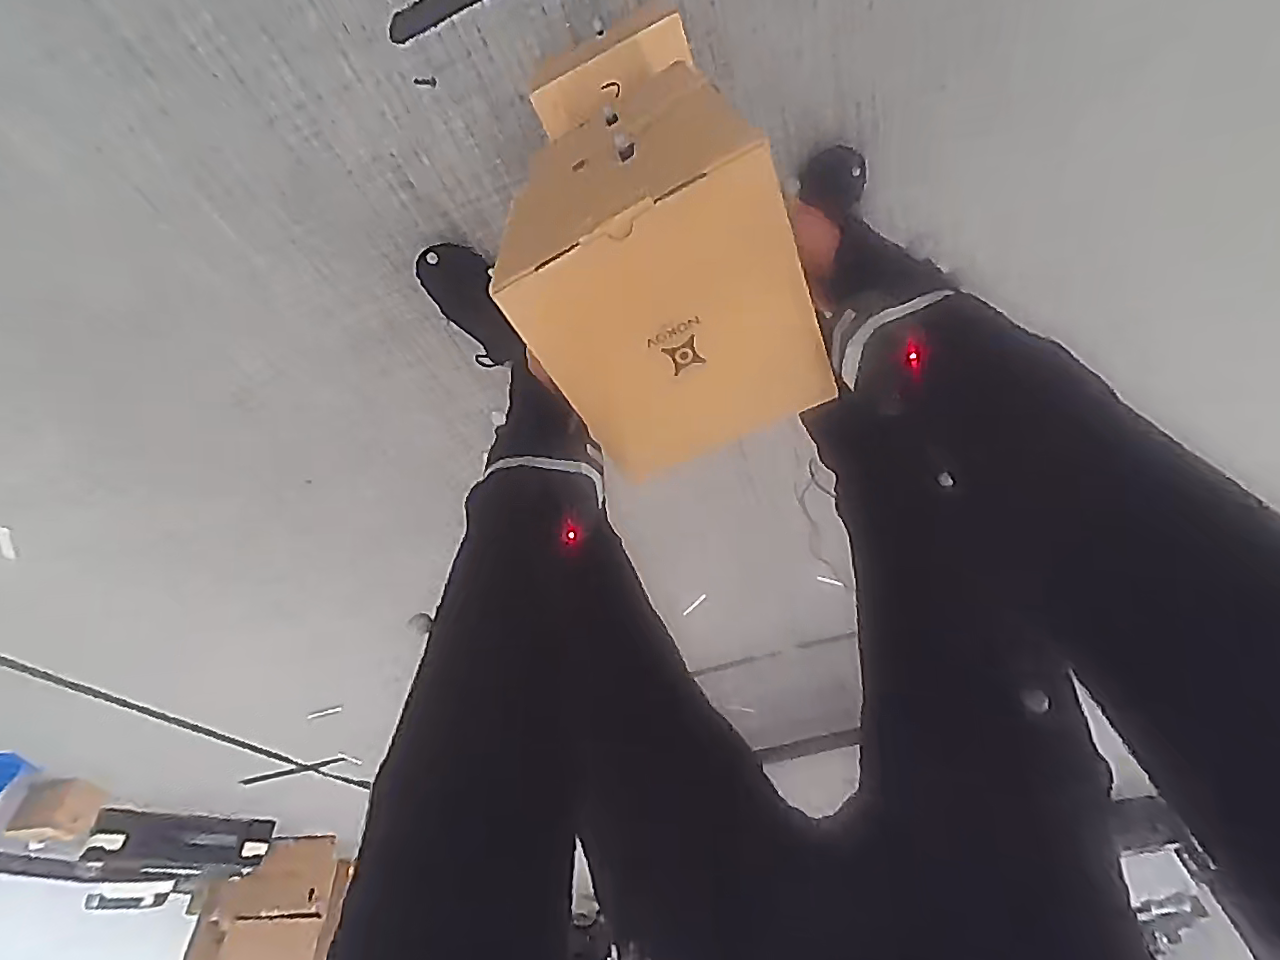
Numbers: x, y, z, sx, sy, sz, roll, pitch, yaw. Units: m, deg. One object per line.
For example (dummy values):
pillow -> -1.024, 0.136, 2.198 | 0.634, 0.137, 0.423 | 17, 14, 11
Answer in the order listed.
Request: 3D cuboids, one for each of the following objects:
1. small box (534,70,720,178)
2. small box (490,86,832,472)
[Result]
small box -> 0.009, -0.253, 0.515 | 0.168, 0.176, 0.179 | -22, 133, 15
small box -> 0.019, -0.142, 0.395 | 0.168, 0.176, 0.179 | -22, 132, 15
